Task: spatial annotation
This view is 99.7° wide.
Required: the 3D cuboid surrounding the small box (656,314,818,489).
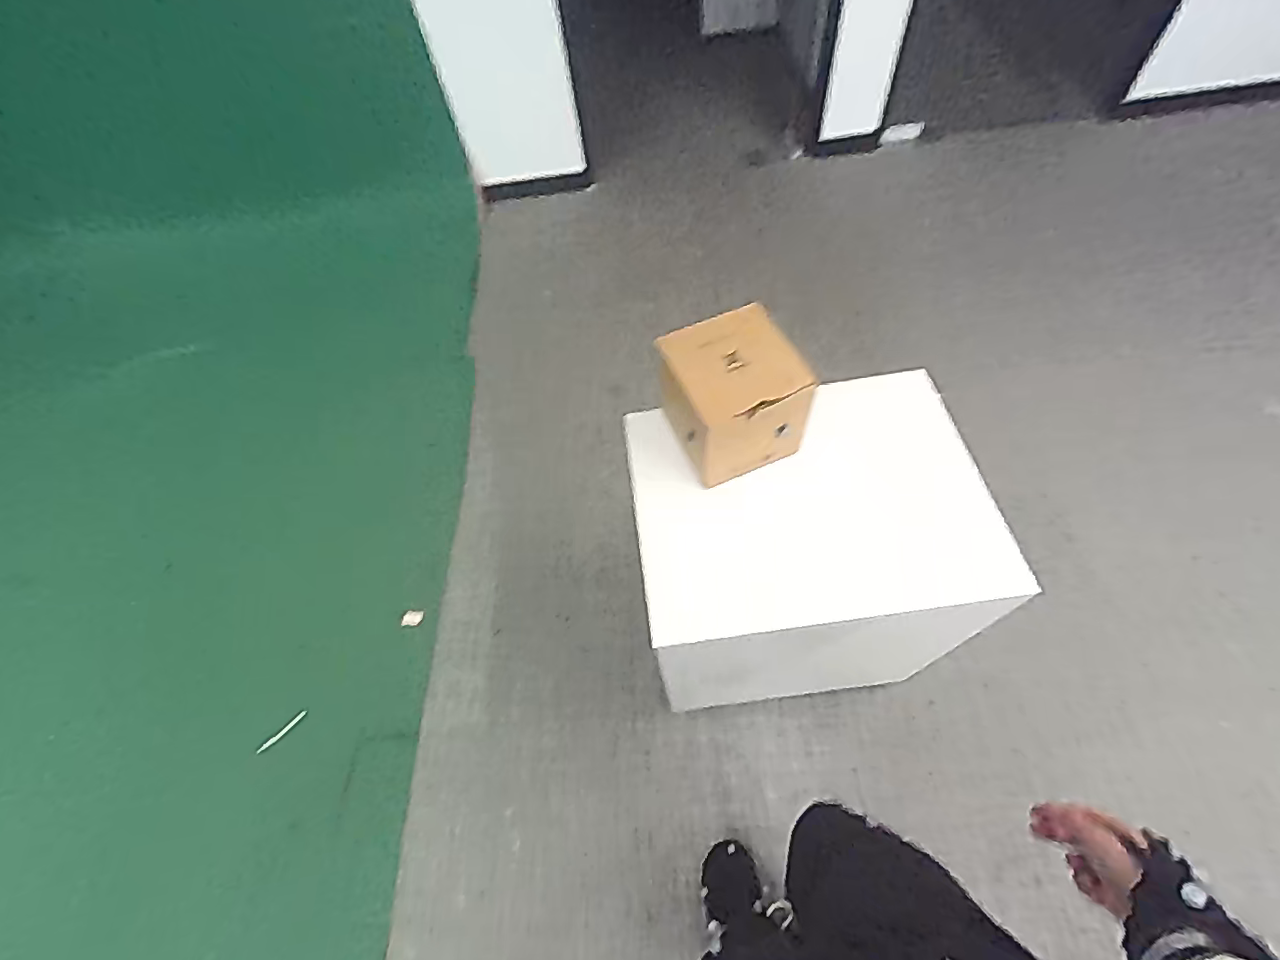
[{"bbox_3d":[0.135,-0.107,0.806,0.168,0.176,0.179,-21,58,-8],"label":"small box"}]
